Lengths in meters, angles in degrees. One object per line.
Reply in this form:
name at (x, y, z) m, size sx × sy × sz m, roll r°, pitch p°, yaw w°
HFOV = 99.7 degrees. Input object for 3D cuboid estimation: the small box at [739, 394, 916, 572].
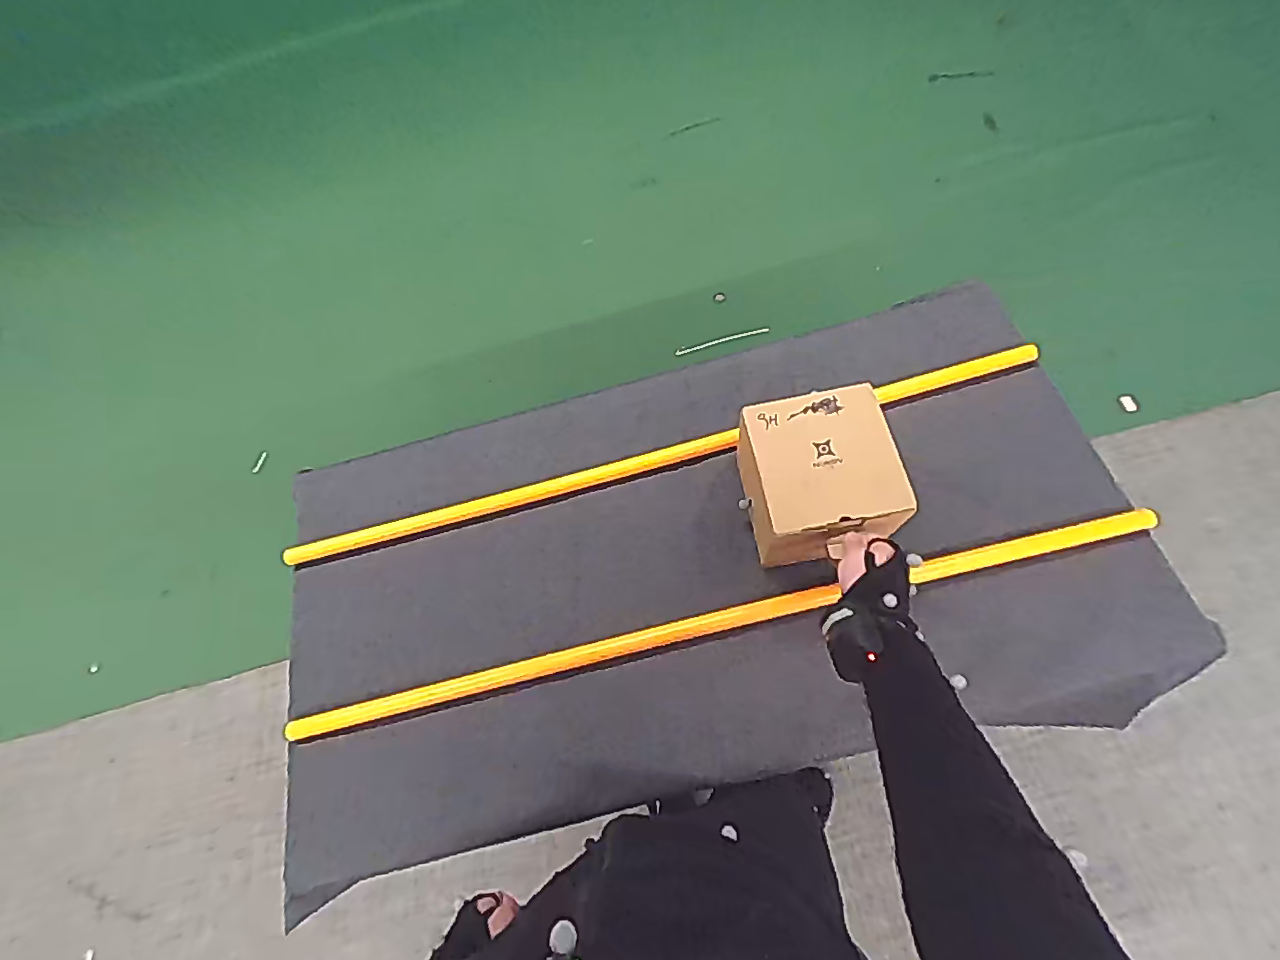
small box at (0.237, 0.016, 0.729) m, size 0.168 × 0.176 × 0.179 m, roll -14°, pitch 66°, yaw 4°
